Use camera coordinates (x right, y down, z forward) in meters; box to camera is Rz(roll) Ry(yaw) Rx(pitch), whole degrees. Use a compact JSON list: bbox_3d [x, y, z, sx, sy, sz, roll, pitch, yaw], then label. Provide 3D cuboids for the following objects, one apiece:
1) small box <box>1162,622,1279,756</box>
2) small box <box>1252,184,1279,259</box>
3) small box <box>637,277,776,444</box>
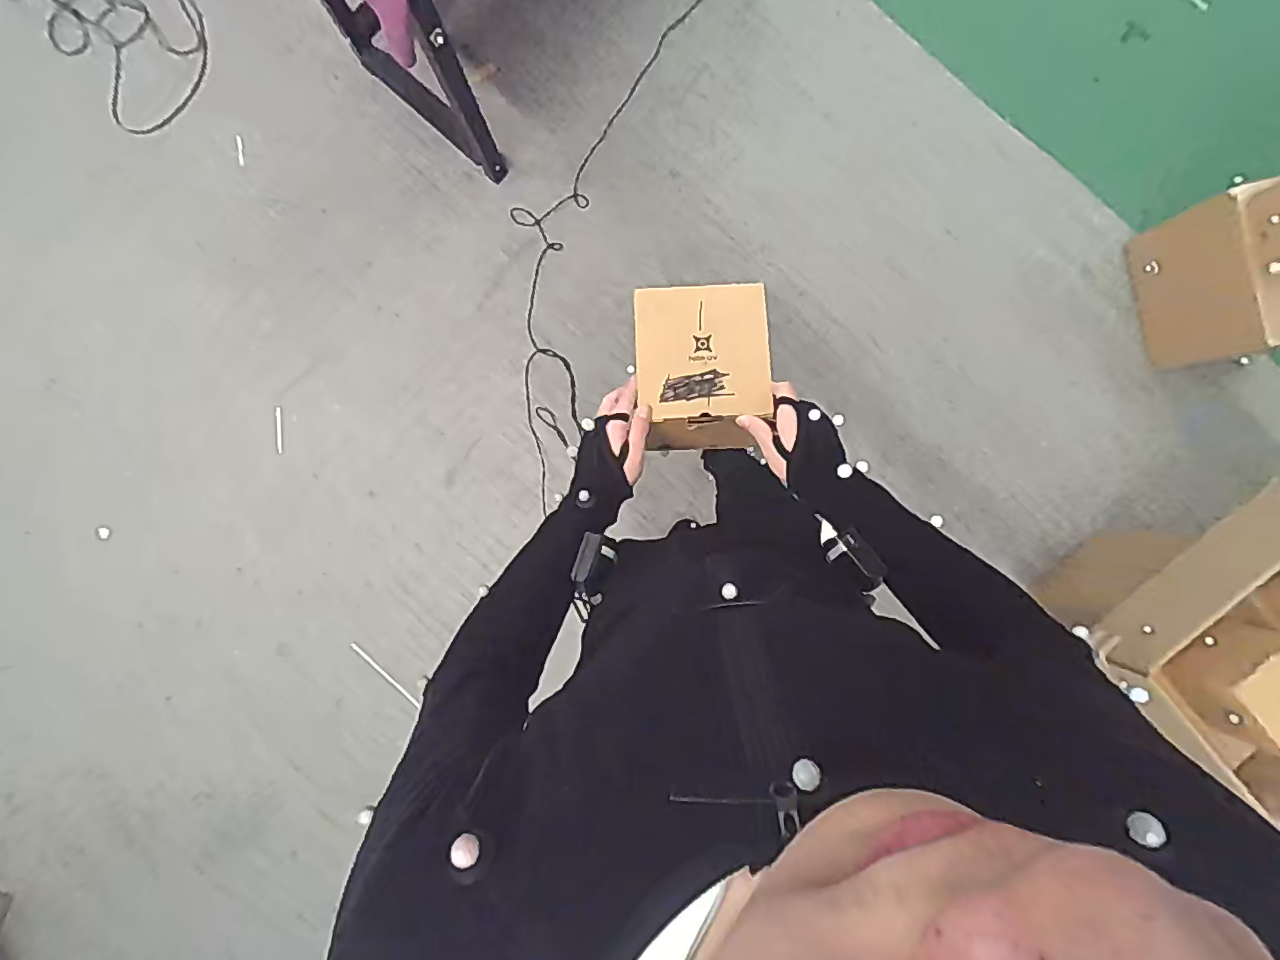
[{"bbox_3d":[1.245,0.416,1.095,0.168,0.176,0.179,-39,87,0],"label":"small box"},{"bbox_3d":[1.565,-0.623,1.215,0.179,0.176,0.168,-12,88,2],"label":"small box"},{"bbox_3d":[0.083,-0.149,0.736,0.168,0.176,0.179,-3,79,2],"label":"small box"}]
